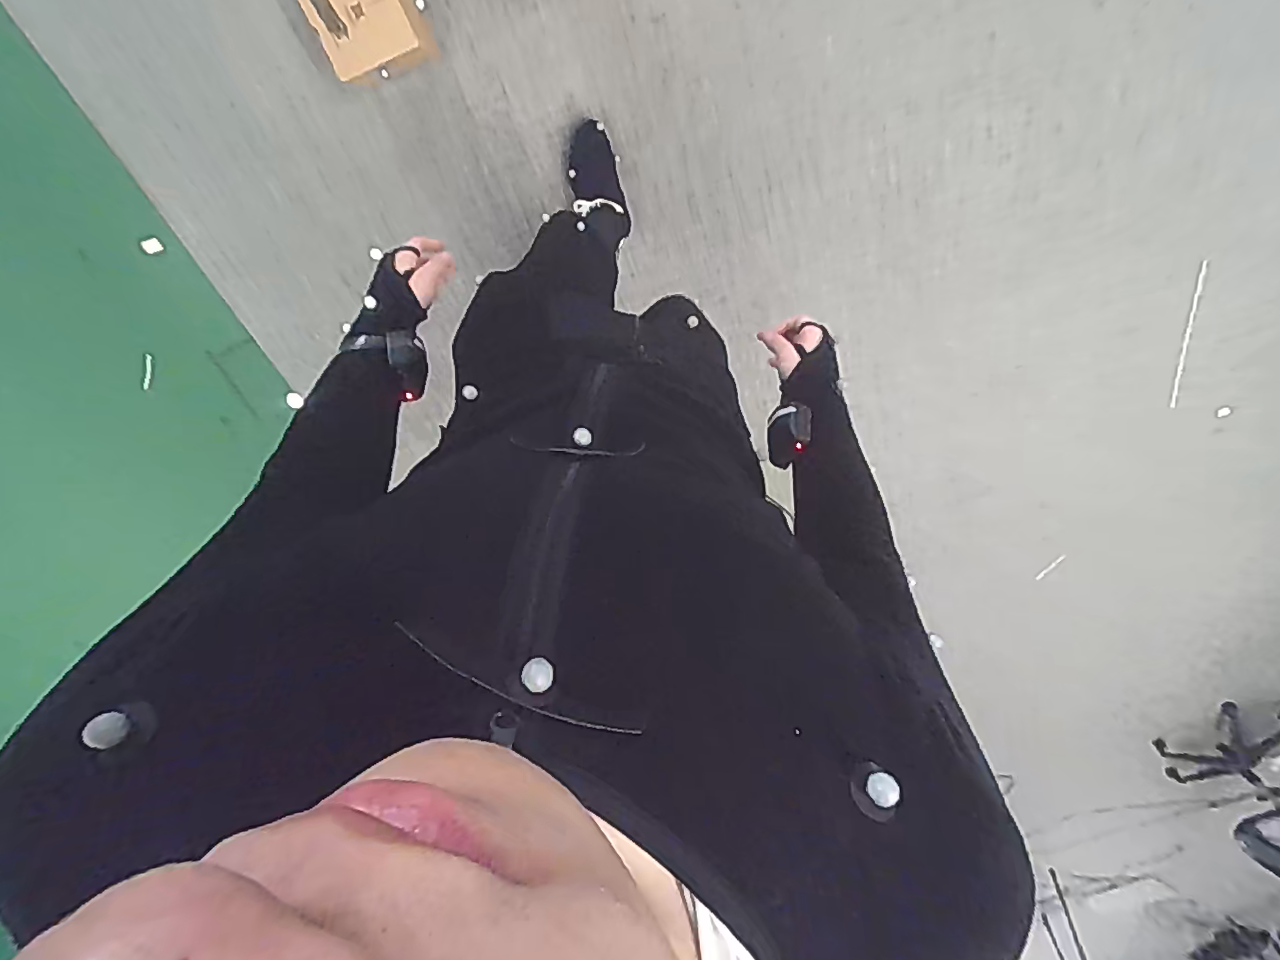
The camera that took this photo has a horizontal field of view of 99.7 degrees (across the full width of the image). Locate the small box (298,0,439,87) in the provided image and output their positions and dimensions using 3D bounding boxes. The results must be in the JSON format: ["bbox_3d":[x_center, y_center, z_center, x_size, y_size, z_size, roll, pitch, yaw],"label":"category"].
[{"bbox_3d":[-0.526,-0.898,1.058,0.179,0.176,0.168,-19,123,7],"label":"small box"}]
